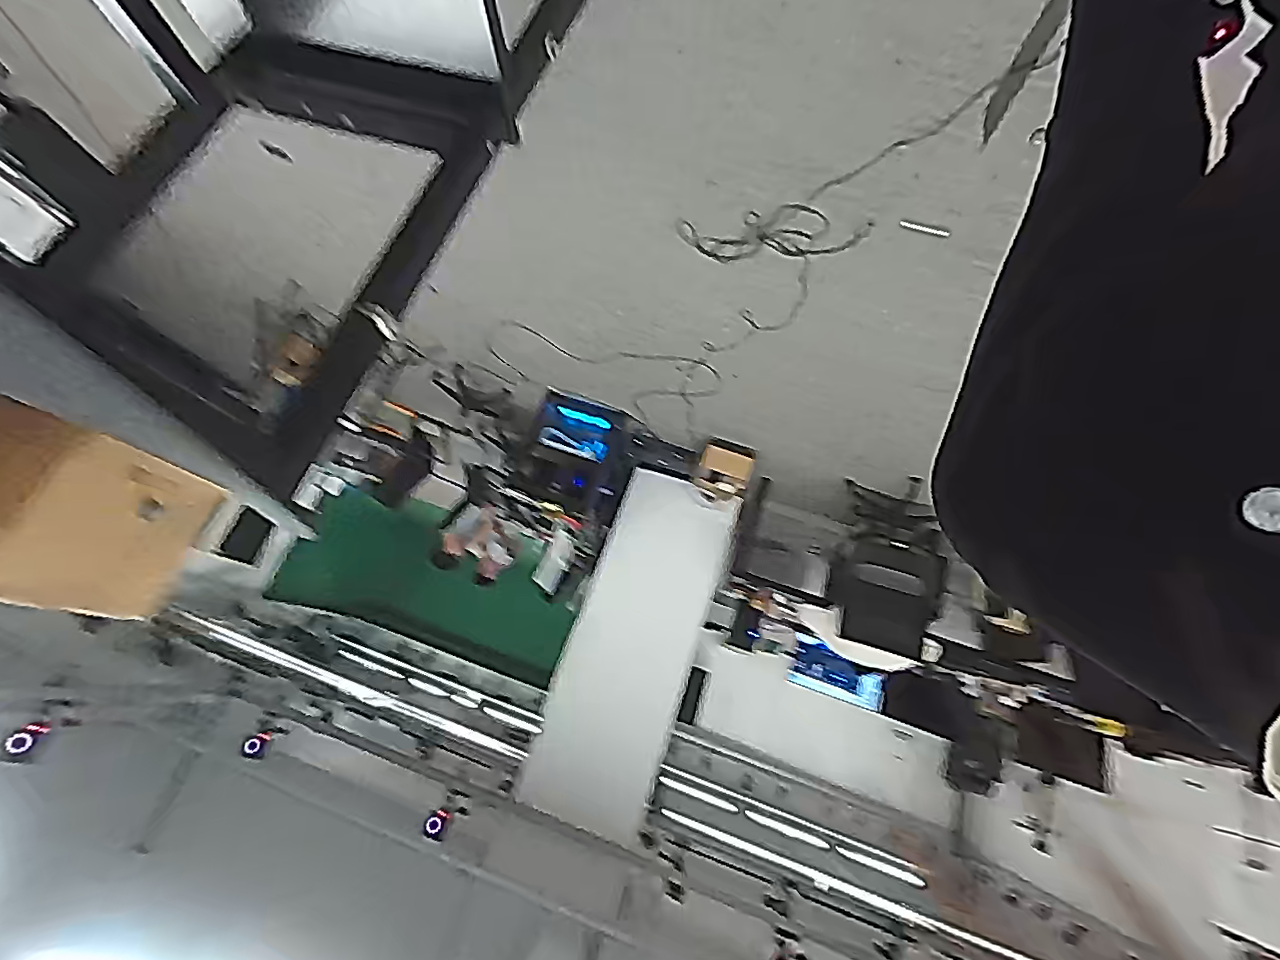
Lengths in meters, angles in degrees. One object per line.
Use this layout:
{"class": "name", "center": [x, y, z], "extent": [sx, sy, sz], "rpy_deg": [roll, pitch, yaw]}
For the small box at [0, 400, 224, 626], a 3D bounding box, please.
{"class": "small box", "center": [-0.602, 0.035, 0.566], "extent": [0.179, 0.176, 0.168], "rpy_deg": [15, 161, 12]}
